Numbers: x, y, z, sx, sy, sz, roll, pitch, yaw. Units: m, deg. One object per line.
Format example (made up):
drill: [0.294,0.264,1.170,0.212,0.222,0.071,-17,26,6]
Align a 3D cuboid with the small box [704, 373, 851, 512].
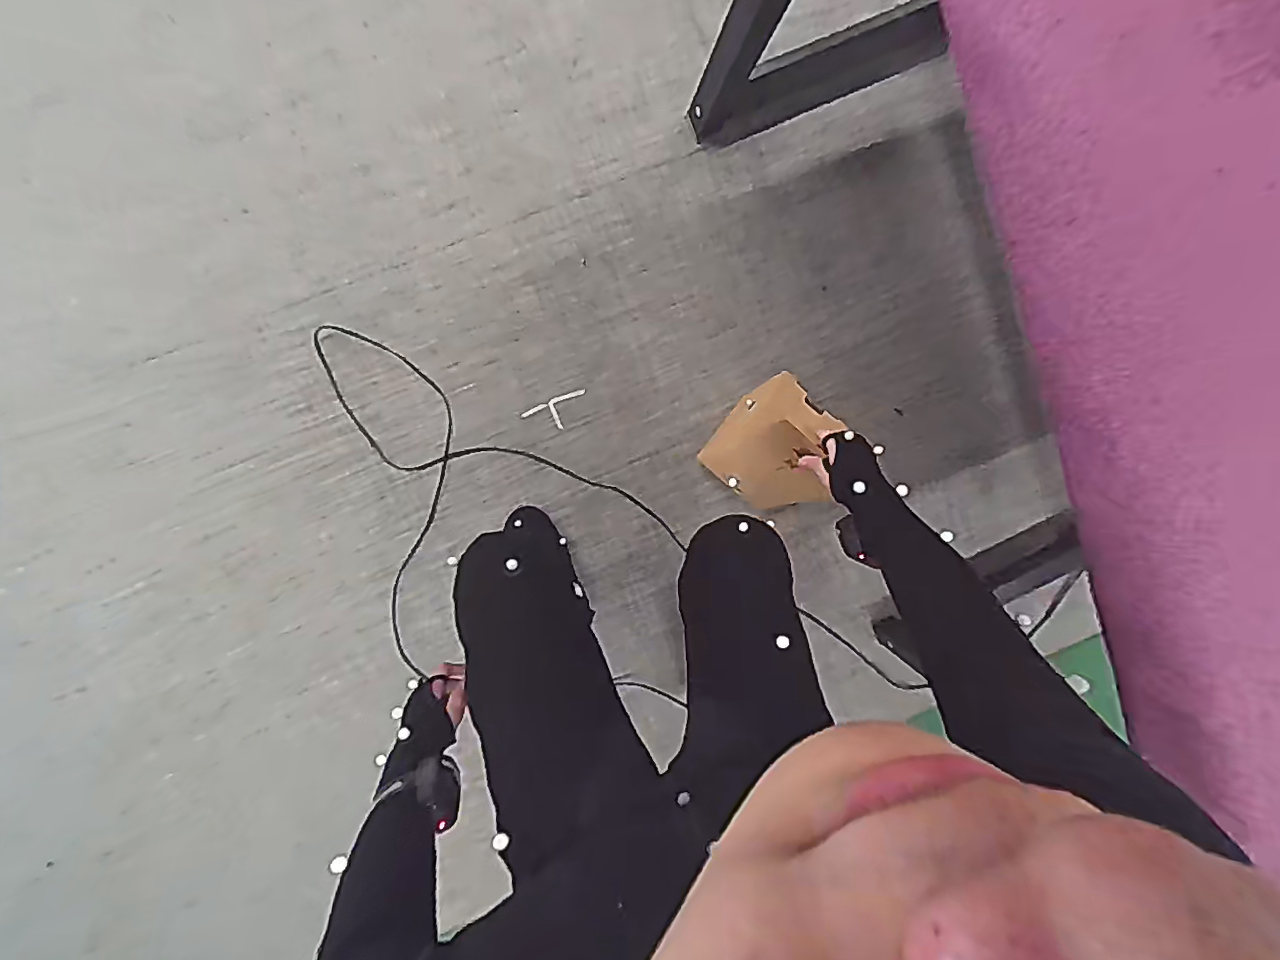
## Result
small box: [0.248,-0.062,1.011,0.168,0.176,0.179,41,71,-6]
